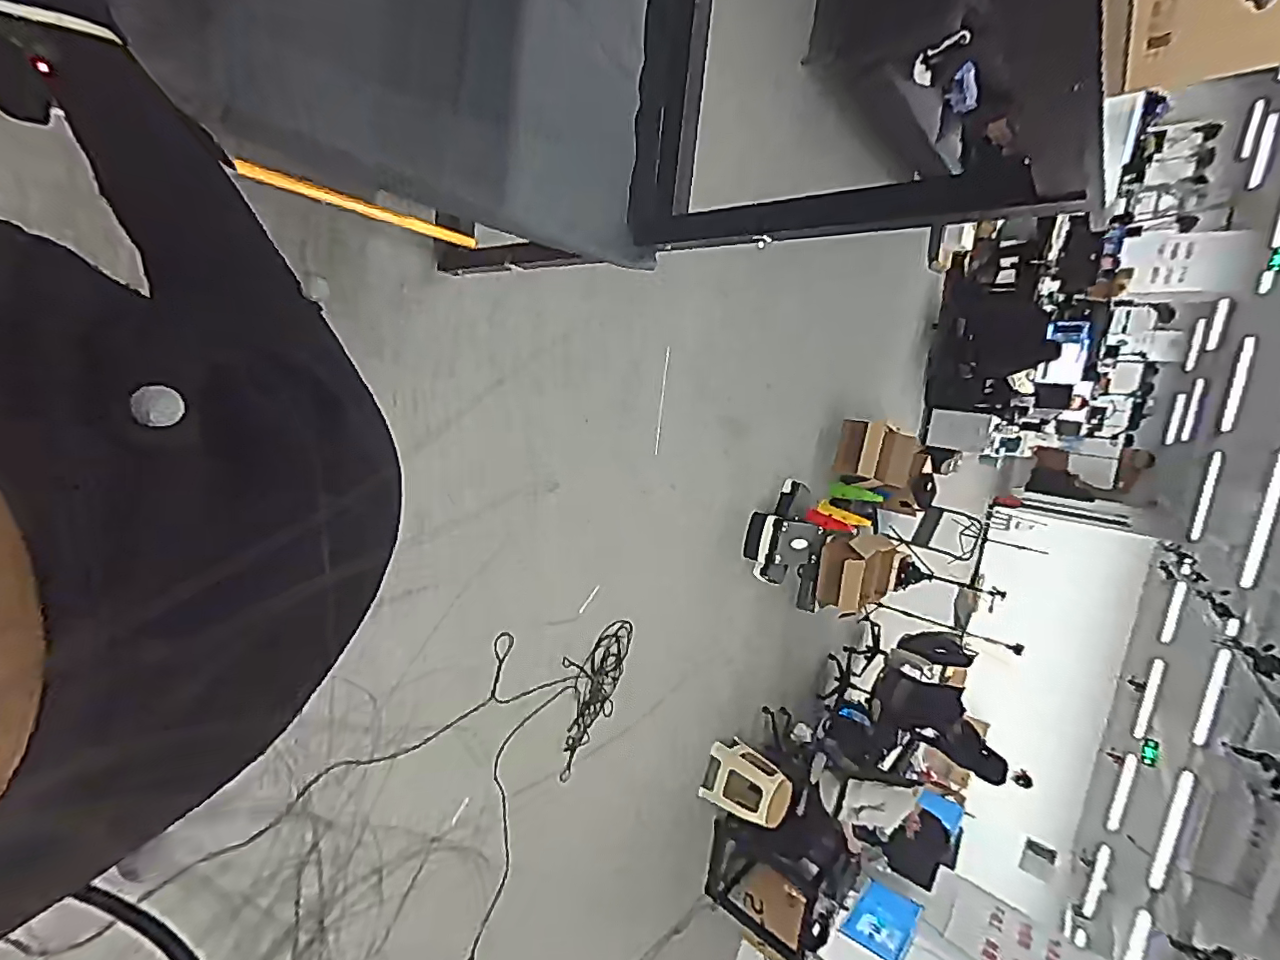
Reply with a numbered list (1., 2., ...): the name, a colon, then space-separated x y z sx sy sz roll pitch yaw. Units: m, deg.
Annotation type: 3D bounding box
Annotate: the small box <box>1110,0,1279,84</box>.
1. small box: 0.487 -0.452 0.410 0.168 0.176 0.179 15 90 -52
